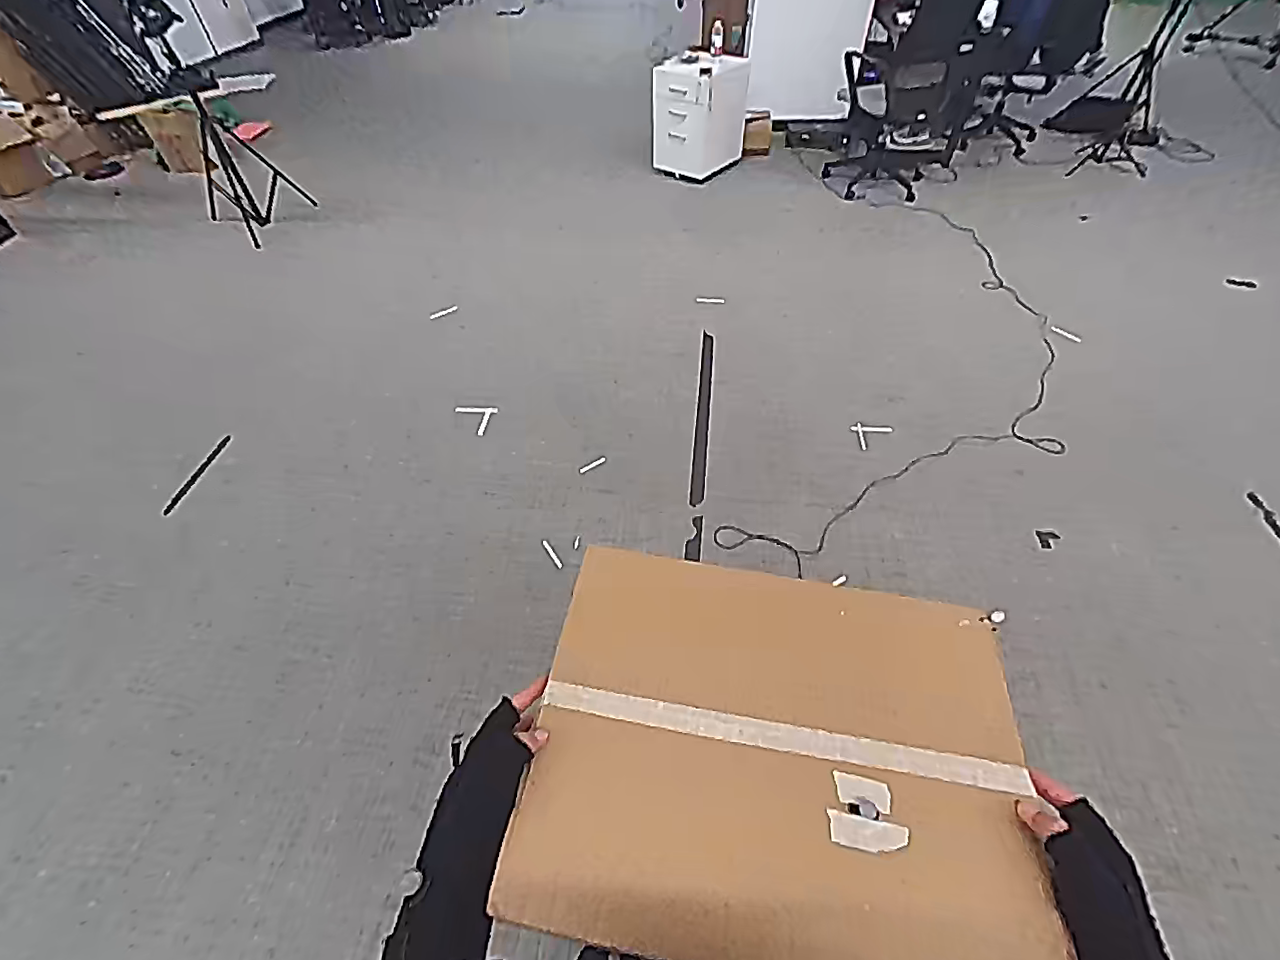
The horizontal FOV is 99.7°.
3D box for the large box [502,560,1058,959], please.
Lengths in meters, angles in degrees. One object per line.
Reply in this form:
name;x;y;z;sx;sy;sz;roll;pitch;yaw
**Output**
large box;0.112;0.321;0.581;0.408;0.320;0.320;9;51;5
